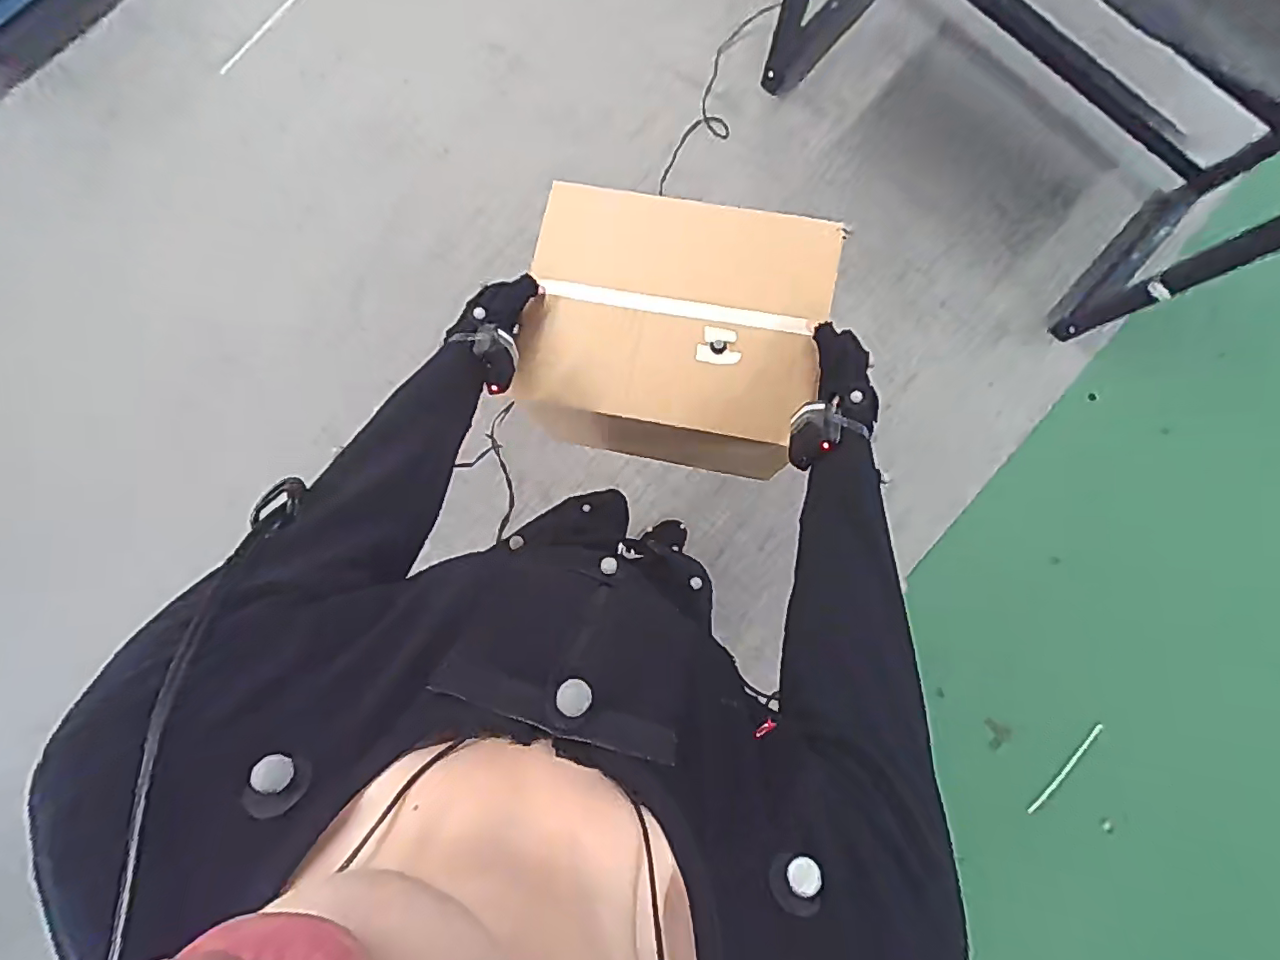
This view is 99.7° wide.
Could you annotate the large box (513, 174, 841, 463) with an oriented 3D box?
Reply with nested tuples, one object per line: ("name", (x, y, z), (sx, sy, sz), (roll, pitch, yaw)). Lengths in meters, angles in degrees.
("large box", (0.053, -0.227, 0.867), (0.408, 0.320, 0.320), (10, 85, 3))
